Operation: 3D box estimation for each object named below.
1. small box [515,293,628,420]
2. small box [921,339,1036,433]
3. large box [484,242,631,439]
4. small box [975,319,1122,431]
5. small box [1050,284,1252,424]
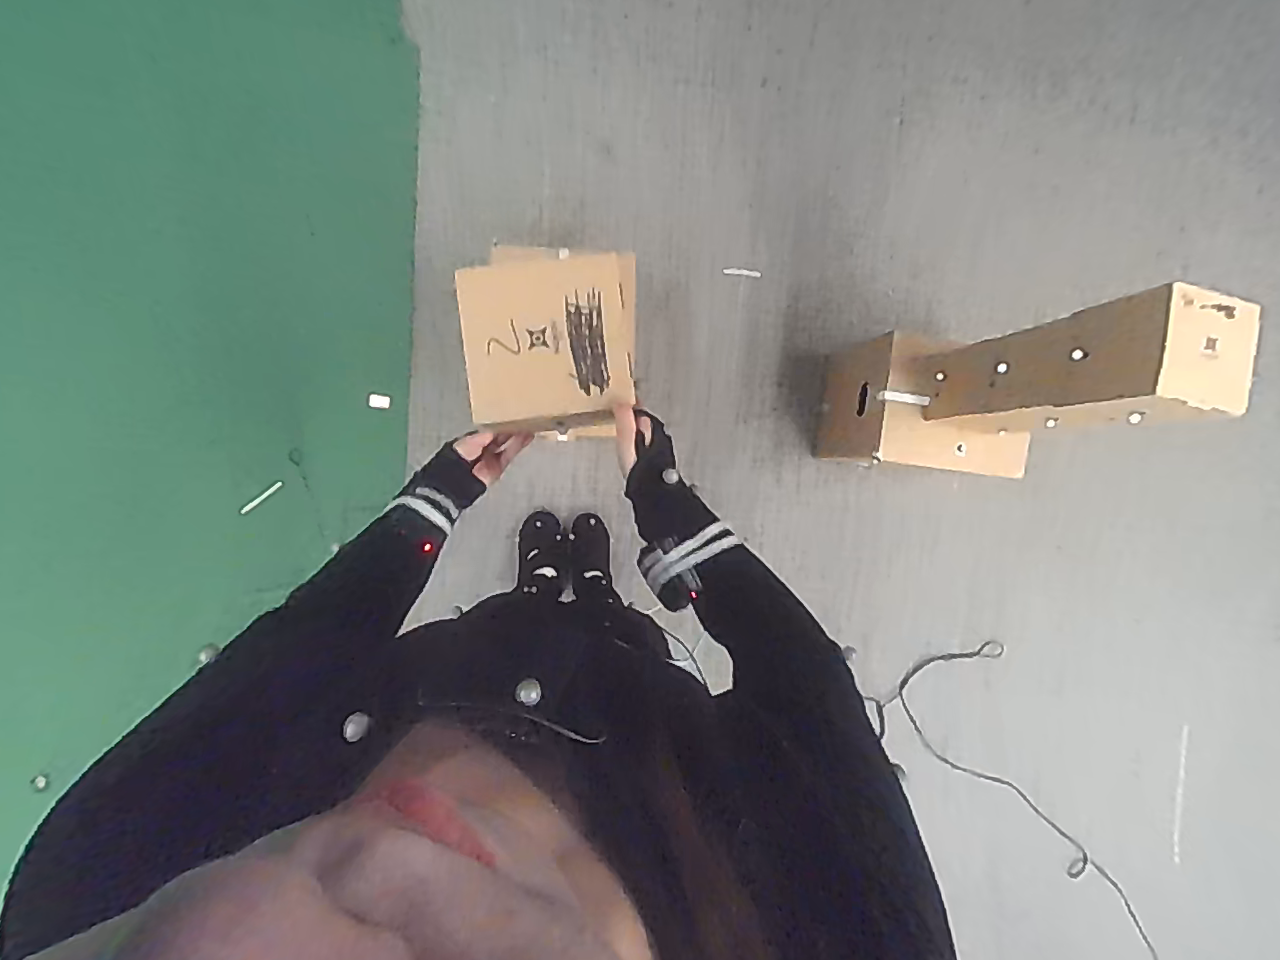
[{"bbox_3d":[-0.116,-0.197,0.915,0.168,0.176,0.179,3,92,-9],"label":"small box"},{"bbox_3d":[0.779,-0.203,1.221,0.179,0.176,0.168,11,89,-9],"label":"small box"},{"bbox_3d":[-0.195,-0.307,1.311,0.320,0.320,0.408,1,92,-9],"label":"large box"},{"bbox_3d":[0.807,-0.195,1.059,0.179,0.176,0.168,12,89,-9],"label":"small box"},{"bbox_3d":[0.831,-0.194,0.897,0.168,0.176,0.179,11,90,-10],"label":"small box"}]
